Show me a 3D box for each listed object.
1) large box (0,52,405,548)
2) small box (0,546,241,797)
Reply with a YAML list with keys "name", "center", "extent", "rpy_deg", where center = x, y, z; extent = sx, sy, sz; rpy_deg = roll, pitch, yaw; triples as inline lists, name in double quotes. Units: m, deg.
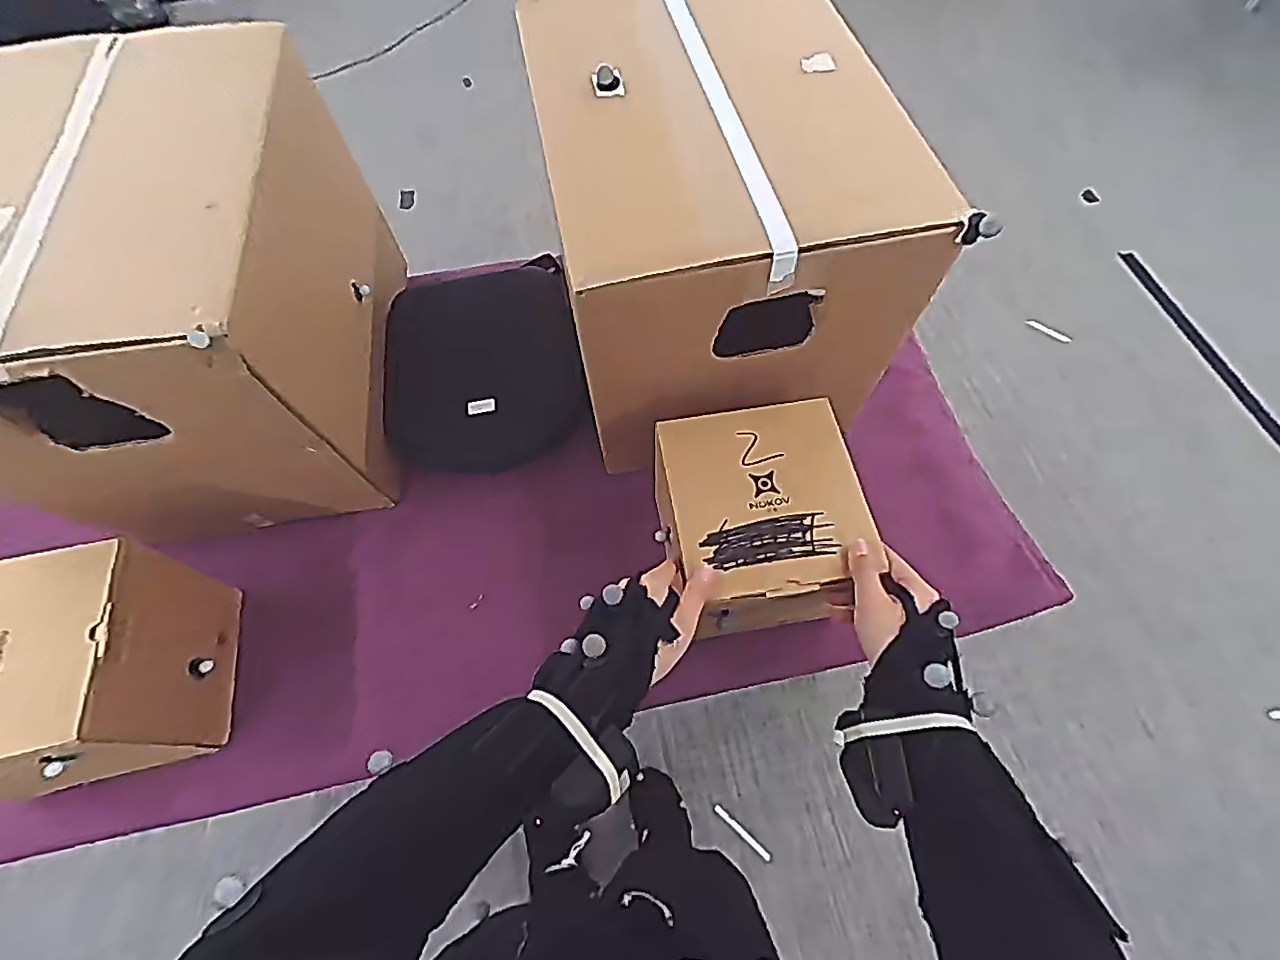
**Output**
- name: "large box"
  center: [-0.475, -0.178, 0.601]
  extent: [0.320, 0.320, 0.408]
  rpy_deg: [-10, 67, -3]
- name: "small box"
  center: [-0.518, 0.182, 0.497]
  extent: [0.179, 0.176, 0.168]
  rpy_deg: [-12, 63, -8]
